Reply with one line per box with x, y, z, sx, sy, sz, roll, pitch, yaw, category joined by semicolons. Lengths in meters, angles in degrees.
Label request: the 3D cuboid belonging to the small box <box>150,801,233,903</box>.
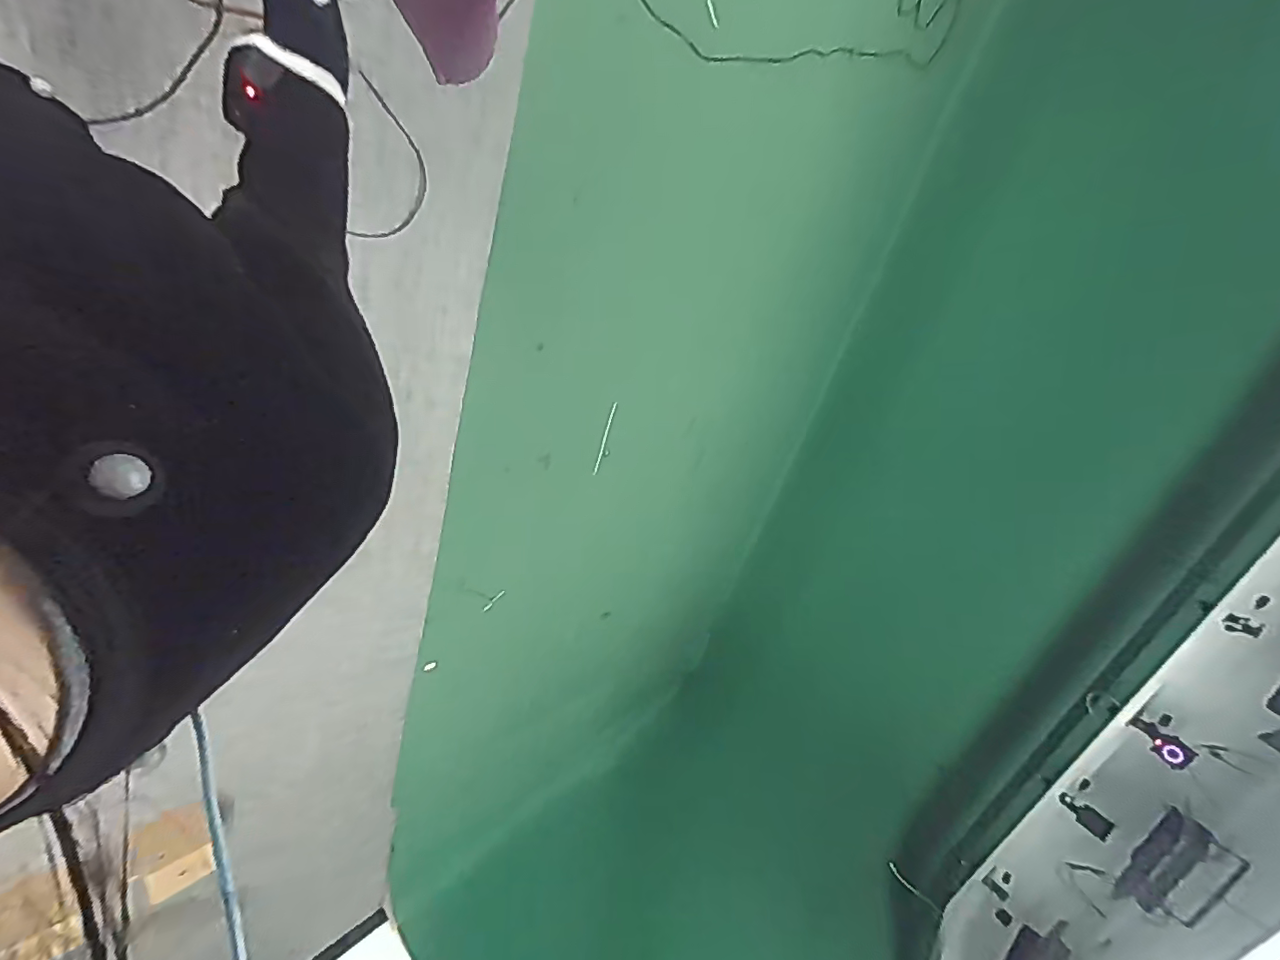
-1.459;1.200;1.756;0.179;0.176;0.168;-17;130;-48;small box
